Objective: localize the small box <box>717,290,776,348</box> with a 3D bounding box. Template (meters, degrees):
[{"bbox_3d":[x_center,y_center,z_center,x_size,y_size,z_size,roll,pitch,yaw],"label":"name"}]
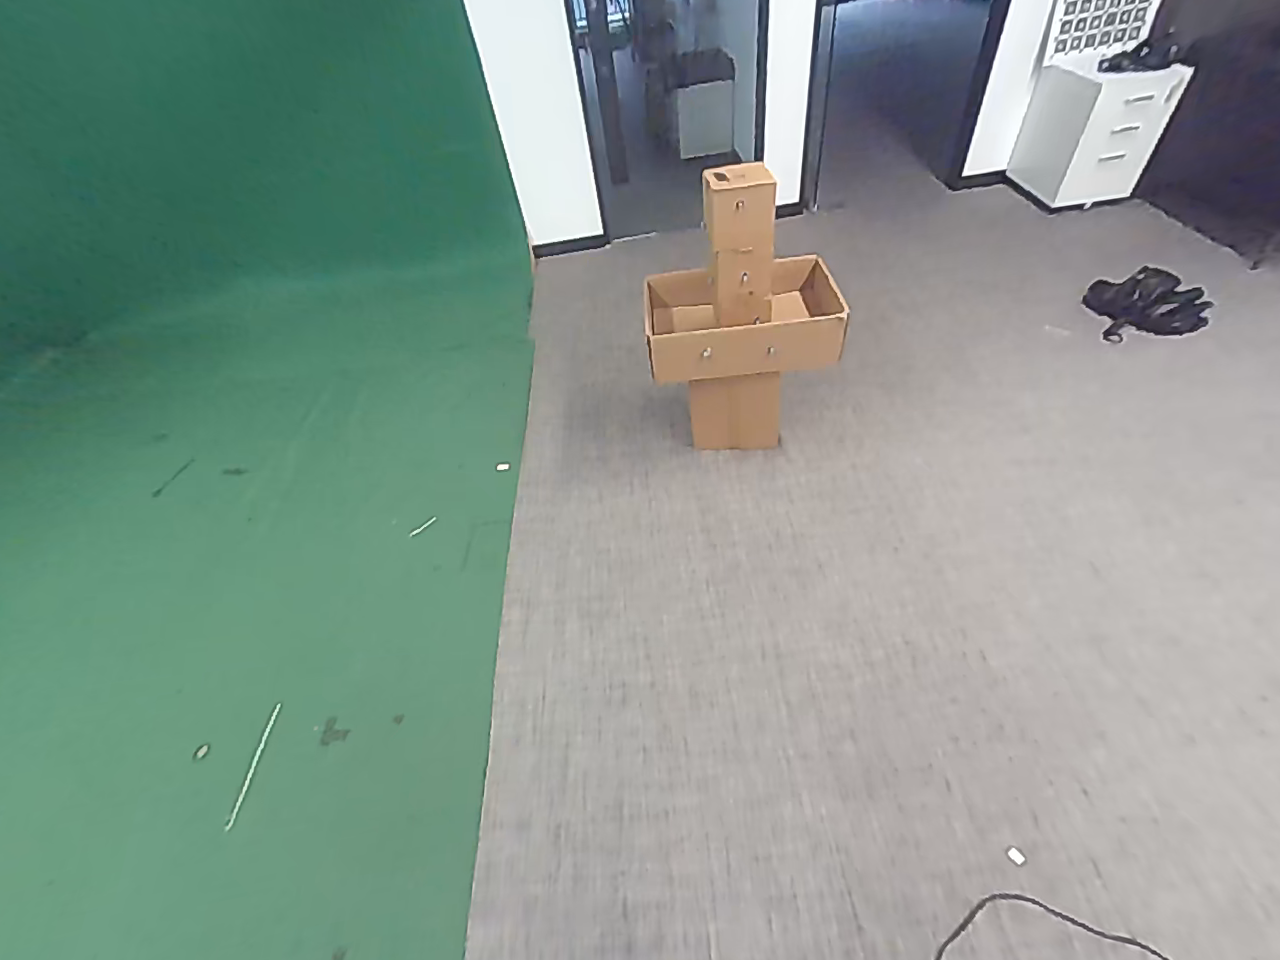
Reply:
[{"bbox_3d":[0.352,-0.553,1.802,0.168,0.176,0.179,-7,45,2],"label":"small box"}]

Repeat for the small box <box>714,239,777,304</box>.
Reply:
[{"bbox_3d":[0.326,-0.665,1.686,0.168,0.176,0.179,-7,47,2],"label":"small box"}]

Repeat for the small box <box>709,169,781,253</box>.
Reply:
[{"bbox_3d":[0.300,-0.774,1.564,0.179,0.176,0.168,-7,47,1],"label":"small box"}]
